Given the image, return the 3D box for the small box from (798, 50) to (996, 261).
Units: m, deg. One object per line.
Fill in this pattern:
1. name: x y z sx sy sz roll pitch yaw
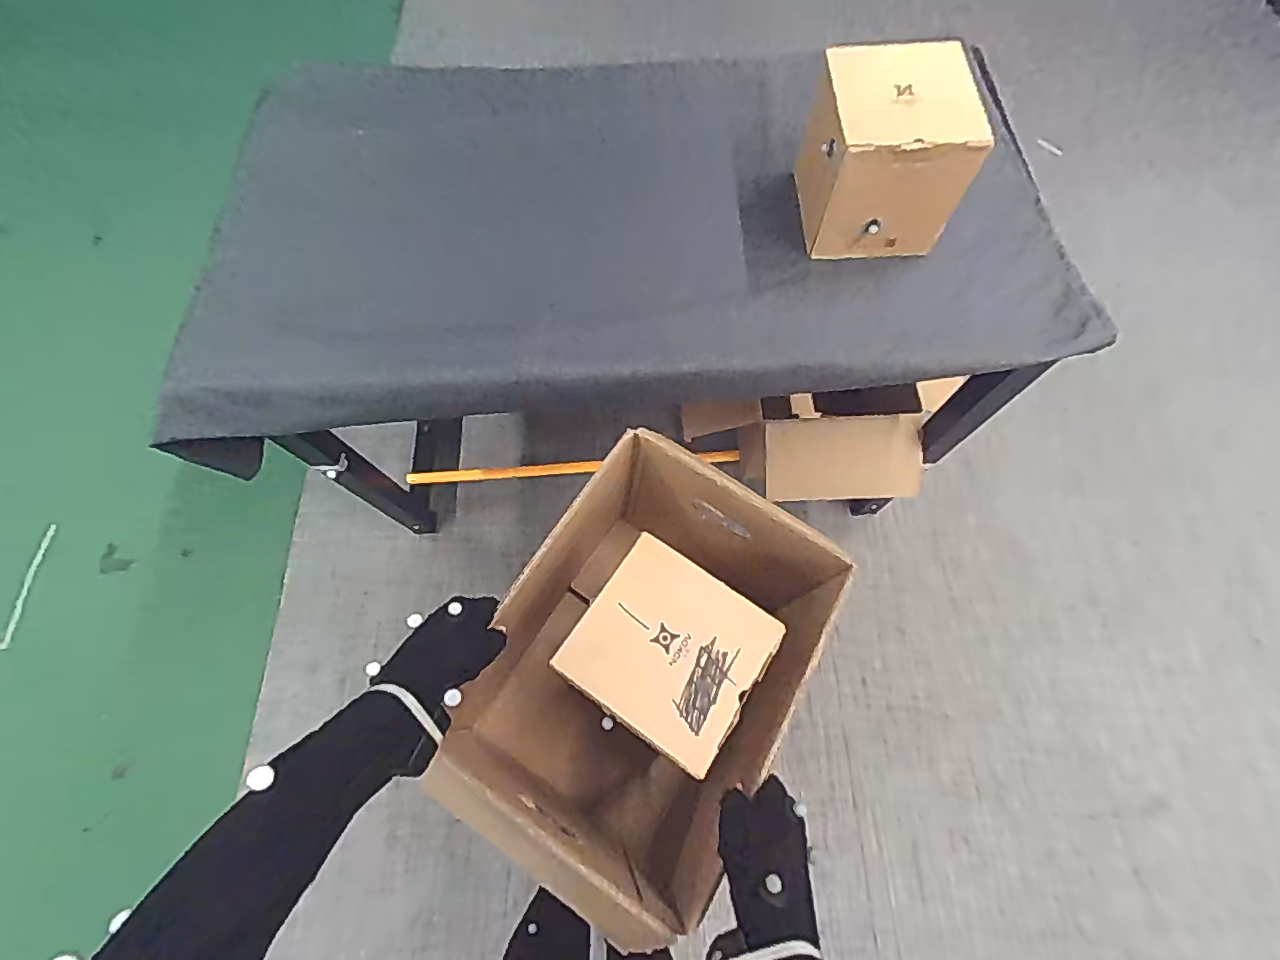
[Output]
1. small box: 0.313 -0.413 0.703 0.168 0.176 0.179 -2 68 1
